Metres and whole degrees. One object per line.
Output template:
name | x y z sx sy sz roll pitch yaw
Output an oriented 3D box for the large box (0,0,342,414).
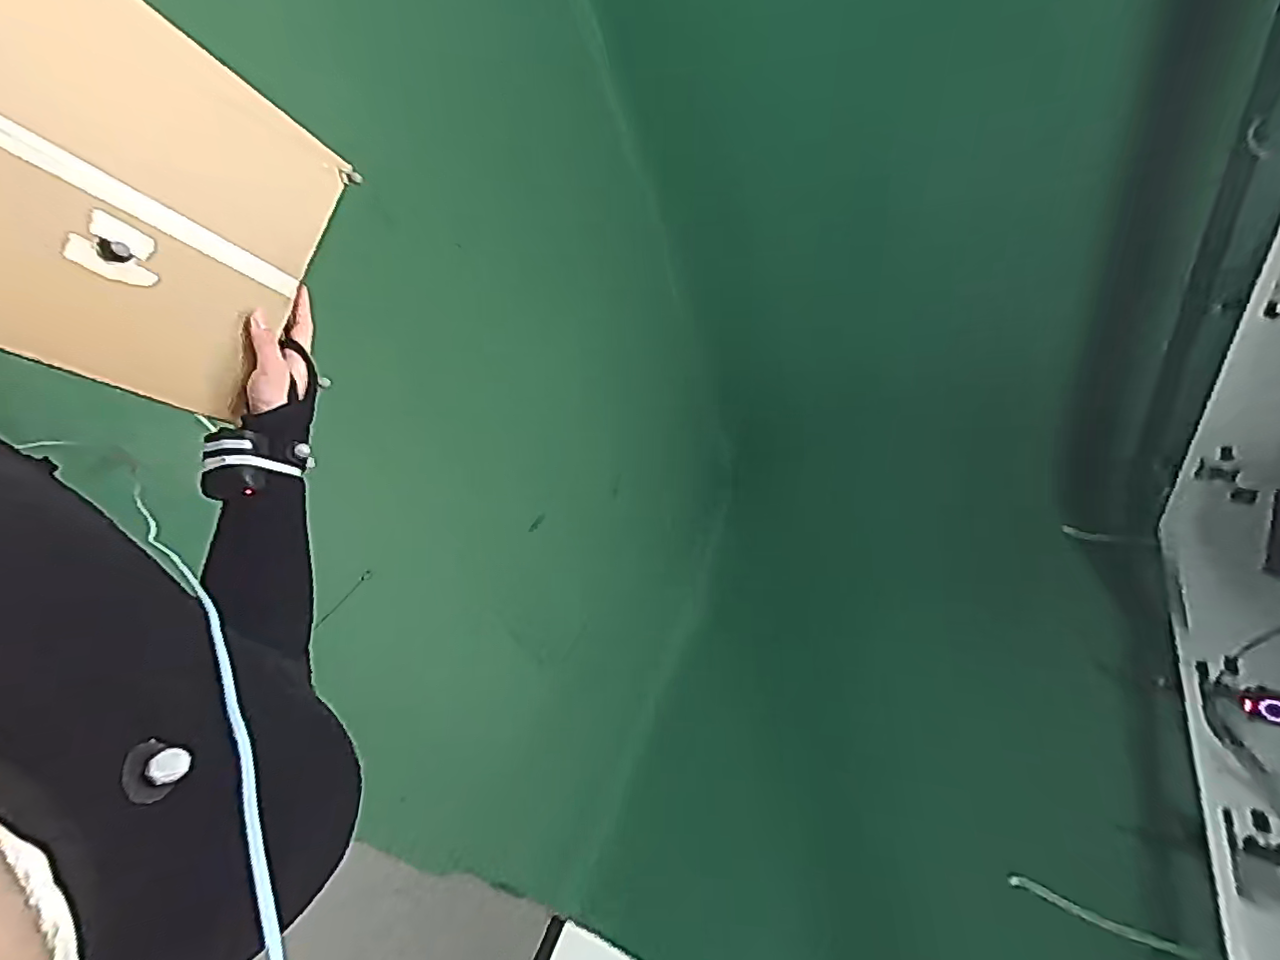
large box | -0.604 -0.292 0.520 0.408 0.320 0.320 28 80 -54
